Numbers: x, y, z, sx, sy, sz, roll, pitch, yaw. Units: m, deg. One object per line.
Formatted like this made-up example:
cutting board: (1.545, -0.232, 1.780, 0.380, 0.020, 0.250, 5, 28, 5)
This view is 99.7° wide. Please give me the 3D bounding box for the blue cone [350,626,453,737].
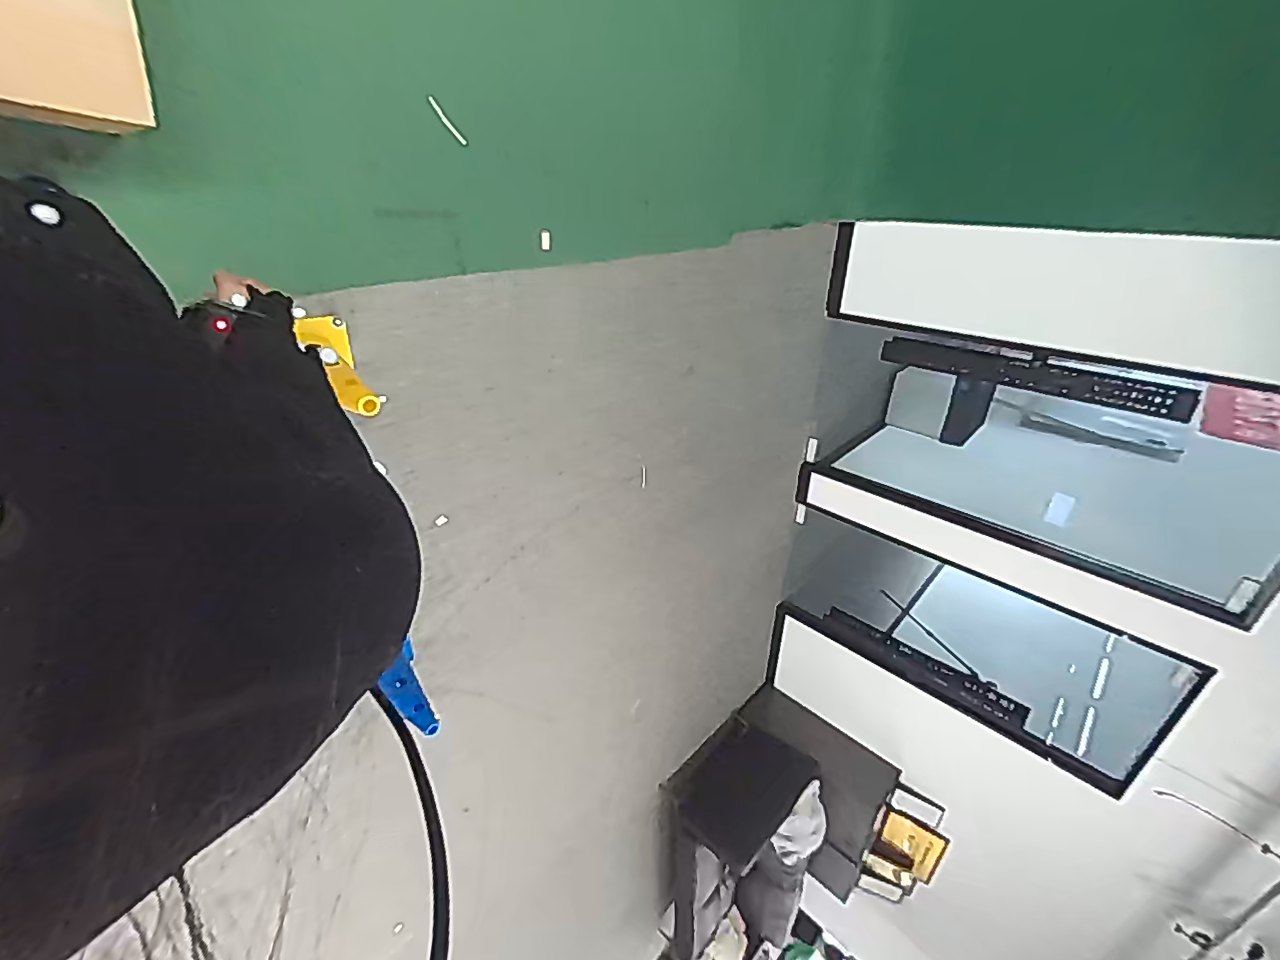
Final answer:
blue cone: (-0.646, 0.600, 1.523, 0.192, 0.380, 0.193, -26, 128, -39)
